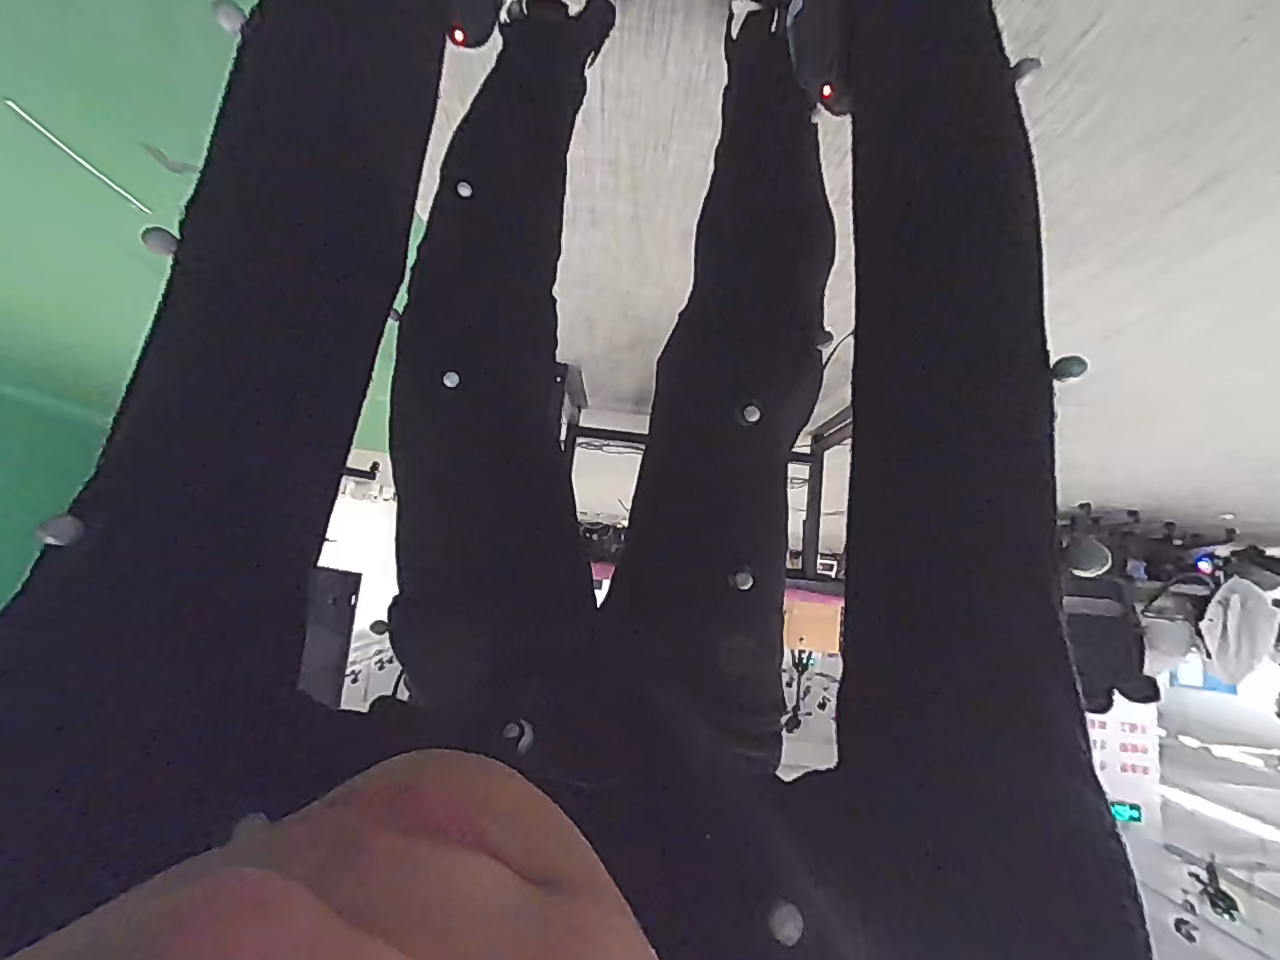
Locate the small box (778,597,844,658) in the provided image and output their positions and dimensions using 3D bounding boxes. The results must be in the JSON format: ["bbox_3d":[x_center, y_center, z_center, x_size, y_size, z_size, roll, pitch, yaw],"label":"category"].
[{"bbox_3d":[0.600,0.512,1.897,0.179,0.176,0.168,8,173,-2],"label":"small box"}]

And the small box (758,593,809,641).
[{"bbox_3d":[0.585,0.556,2.184,0.179,0.176,0.168,7,170,1],"label":"small box"}]
